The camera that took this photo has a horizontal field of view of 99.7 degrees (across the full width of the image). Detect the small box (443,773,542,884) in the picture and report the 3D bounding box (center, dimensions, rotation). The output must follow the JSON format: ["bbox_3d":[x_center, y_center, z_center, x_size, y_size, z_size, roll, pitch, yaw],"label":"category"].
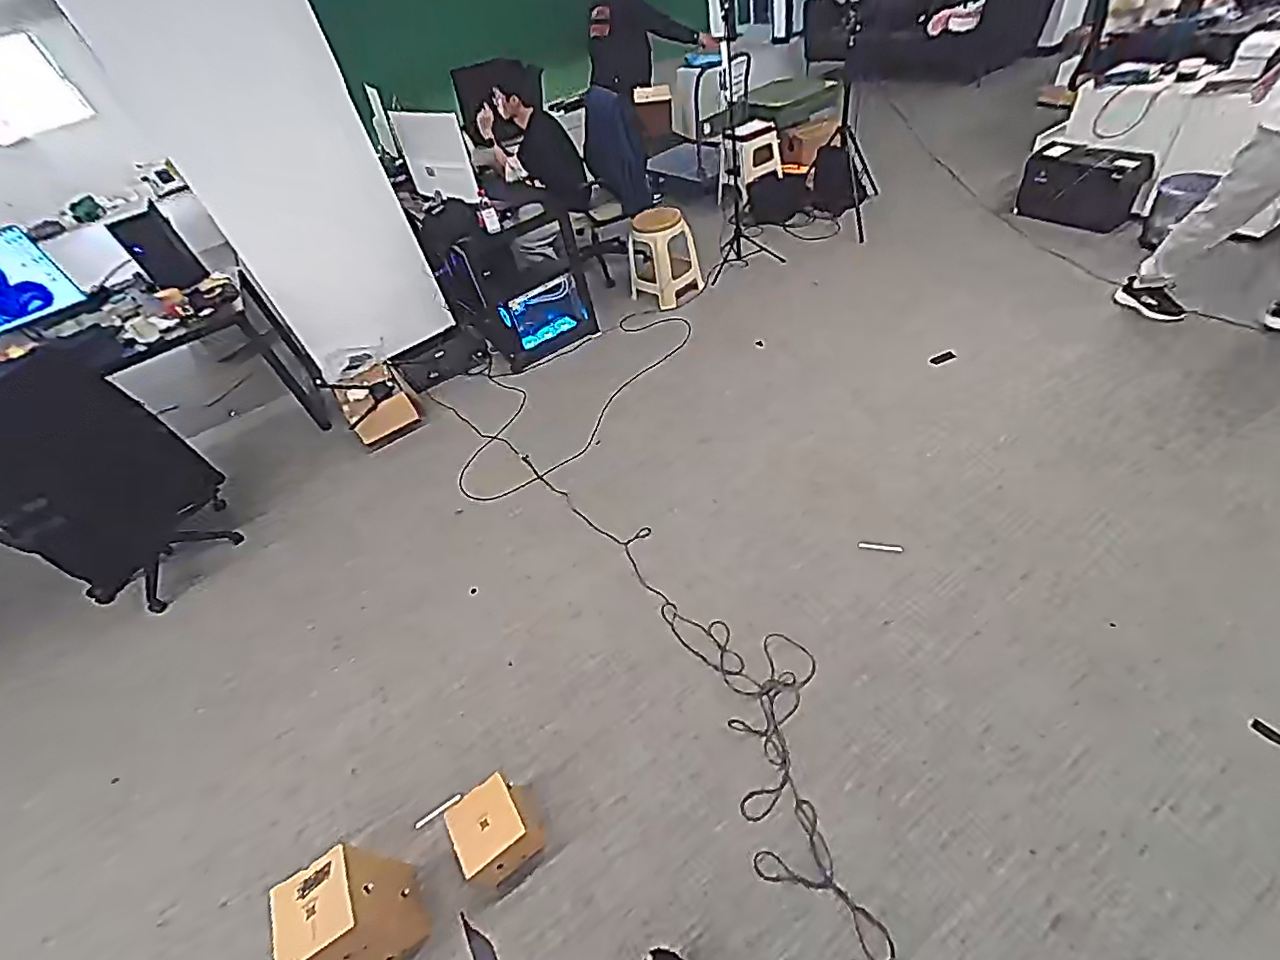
[{"bbox_3d":[-0.378,0.913,1.409,0.168,0.176,0.179,-33,48,-17],"label":"small box"}]

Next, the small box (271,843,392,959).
[{"bbox_3d":[-0.684,0.961,1.206,0.168,0.176,0.179,-30,48,-14],"label":"small box"}]
